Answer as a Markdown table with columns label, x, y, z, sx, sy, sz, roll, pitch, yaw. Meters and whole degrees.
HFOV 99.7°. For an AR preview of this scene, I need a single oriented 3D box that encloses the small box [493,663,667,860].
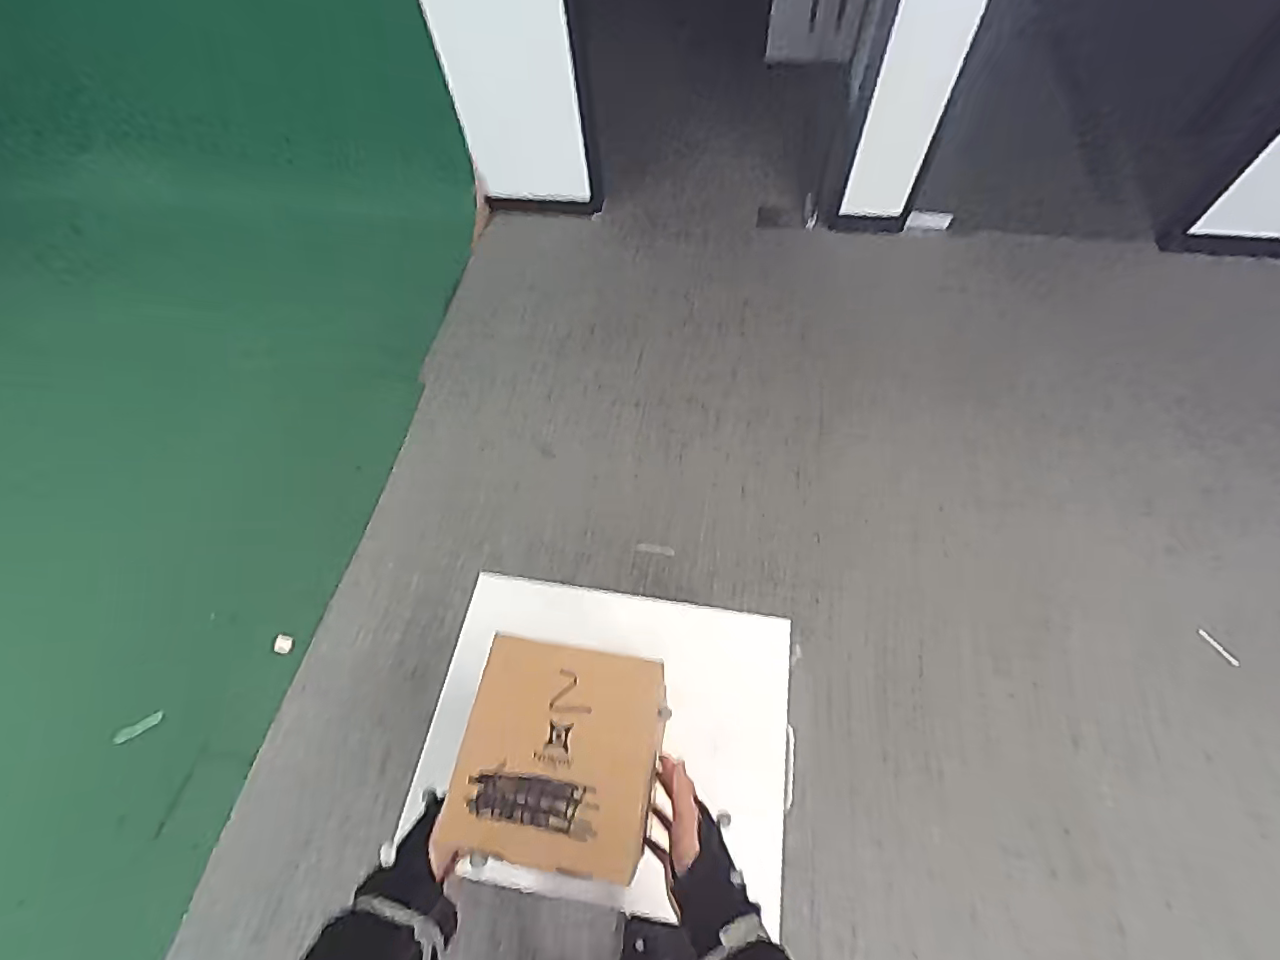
| label | x | y | z | sx | sy | sz | roll | pitch | yaw |
| --- | --- | --- | --- | --- | --- | --- | --- | --- | --- |
| small box | -0.060 | 0.346 | 0.672 | 0.168 | 0.176 | 0.179 | 7 | 60 | 7 |
